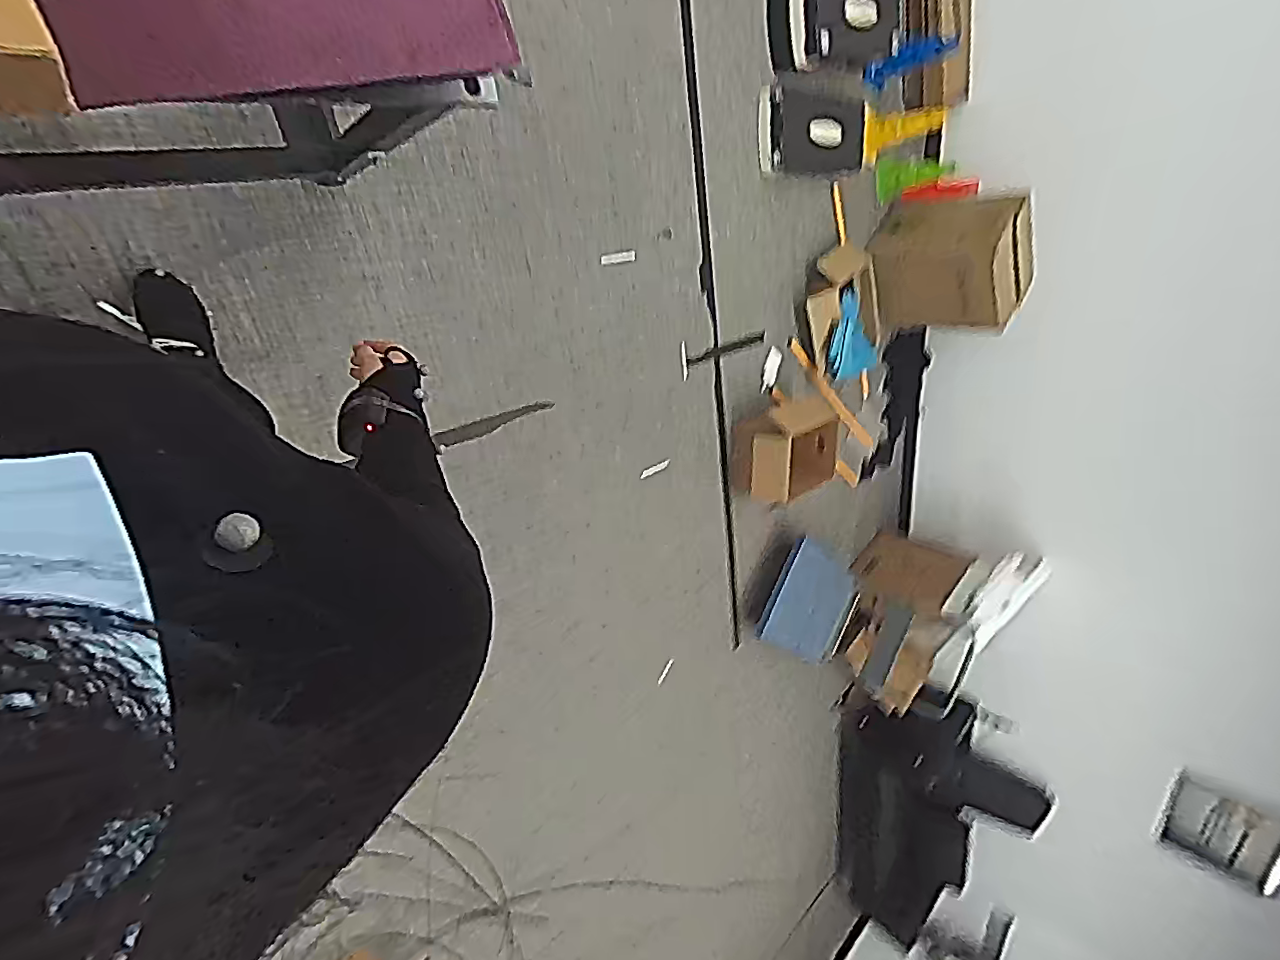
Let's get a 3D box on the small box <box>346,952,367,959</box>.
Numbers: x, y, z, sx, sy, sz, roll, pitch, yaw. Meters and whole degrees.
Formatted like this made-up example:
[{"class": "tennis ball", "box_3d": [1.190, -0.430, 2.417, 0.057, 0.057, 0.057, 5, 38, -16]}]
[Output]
[{"class": "small box", "box_3d": [-0.904, 1.630, 1.675, 0.168, 0.176, 0.179, -29, 122, -34]}]
